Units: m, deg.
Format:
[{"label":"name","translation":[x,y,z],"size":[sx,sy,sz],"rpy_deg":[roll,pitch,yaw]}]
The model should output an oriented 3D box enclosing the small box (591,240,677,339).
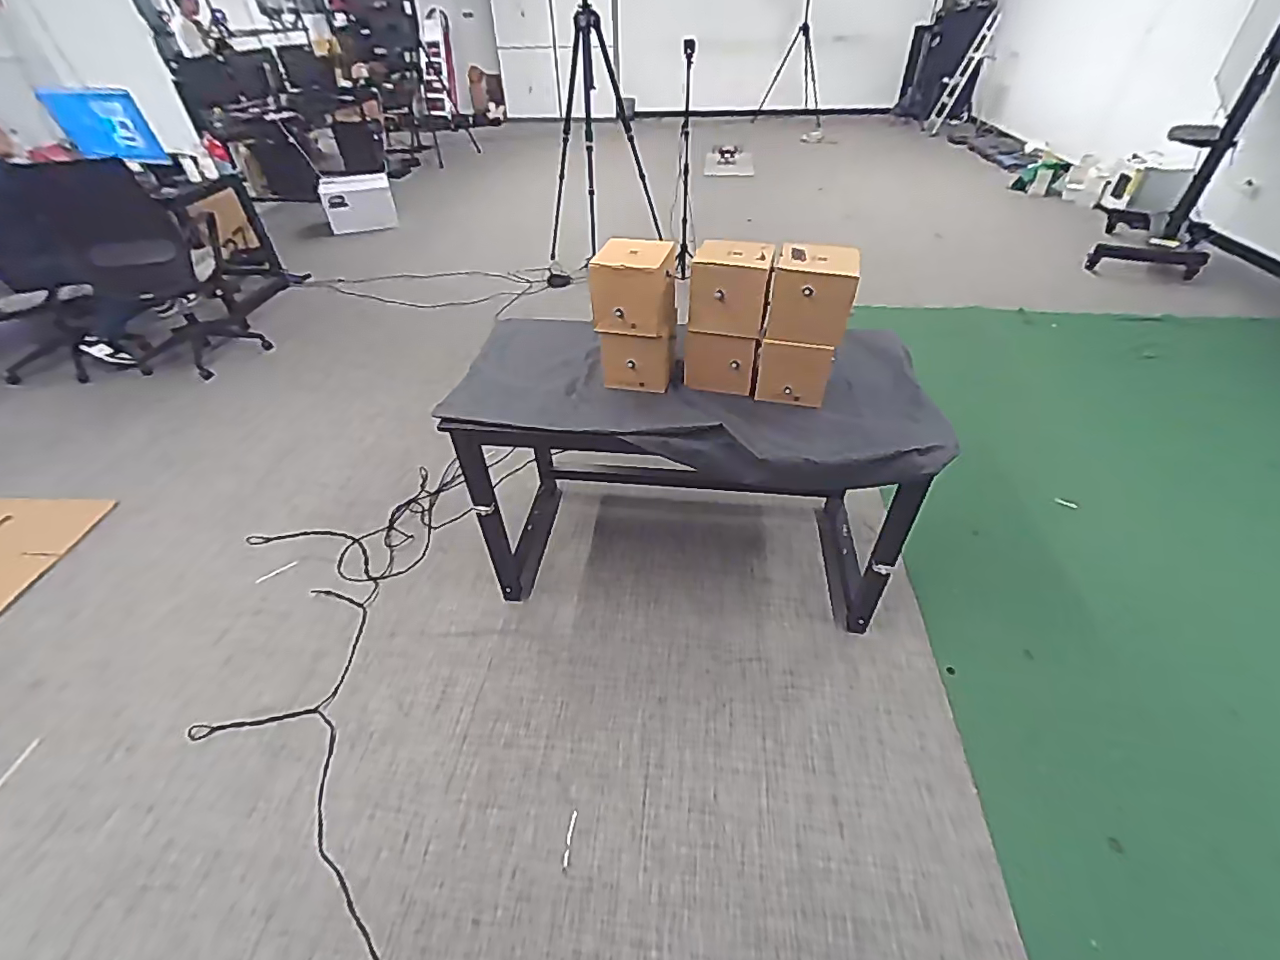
[{"label":"small box","translation":[-0.011,-0.469,1.327],"size":[0.168,0.176,0.179],"rpy_deg":[9,45,13]}]
